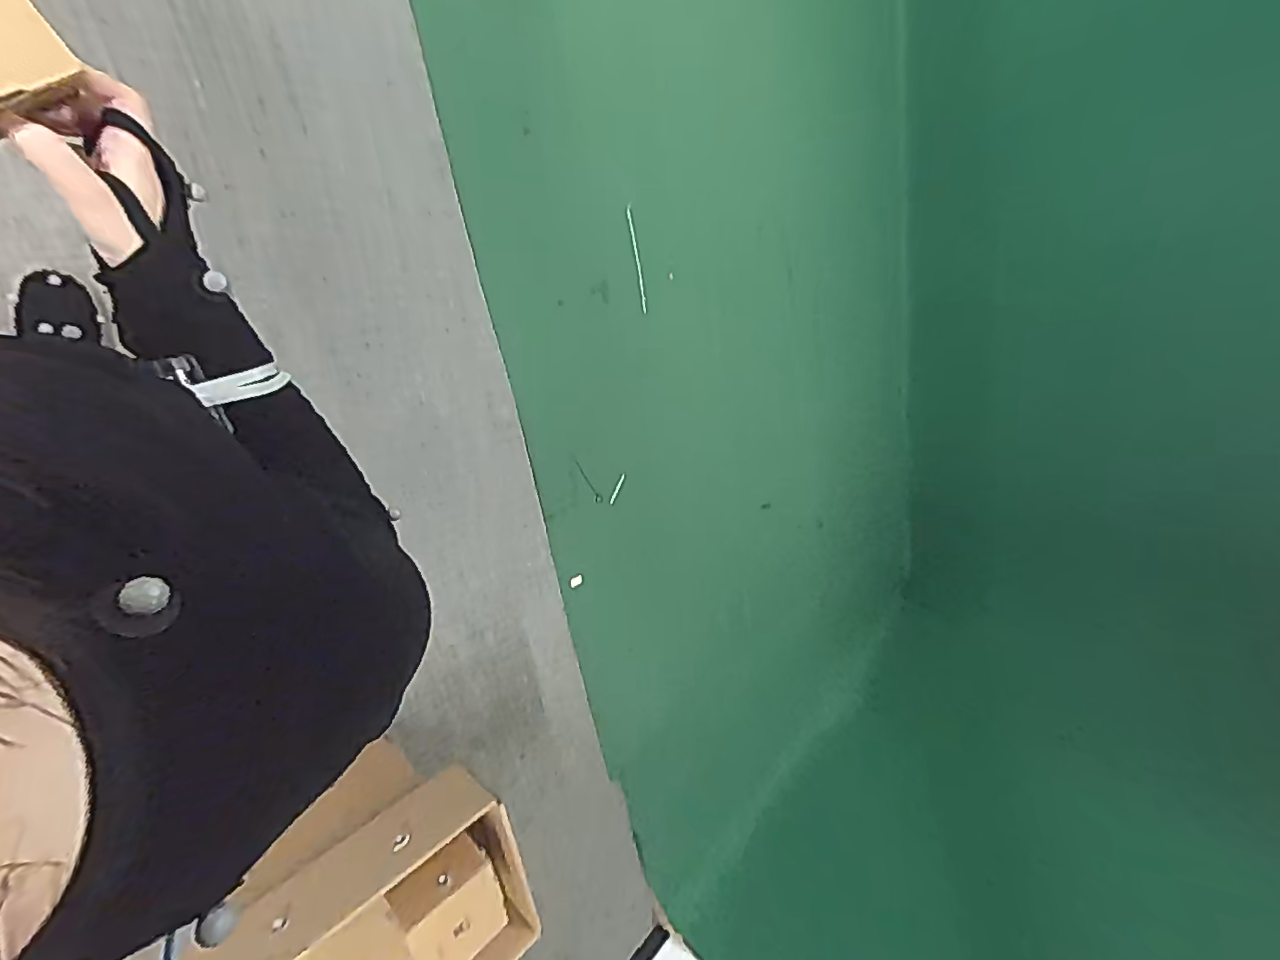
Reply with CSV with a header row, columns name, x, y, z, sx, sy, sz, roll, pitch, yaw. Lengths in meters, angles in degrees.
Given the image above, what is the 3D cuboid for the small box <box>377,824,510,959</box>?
name,x,y,z,sx,sy,sz,roll,pitch,yaw
small box,-0.393,0.847,1.085,0.179,0.176,0.168,-23,111,-41
